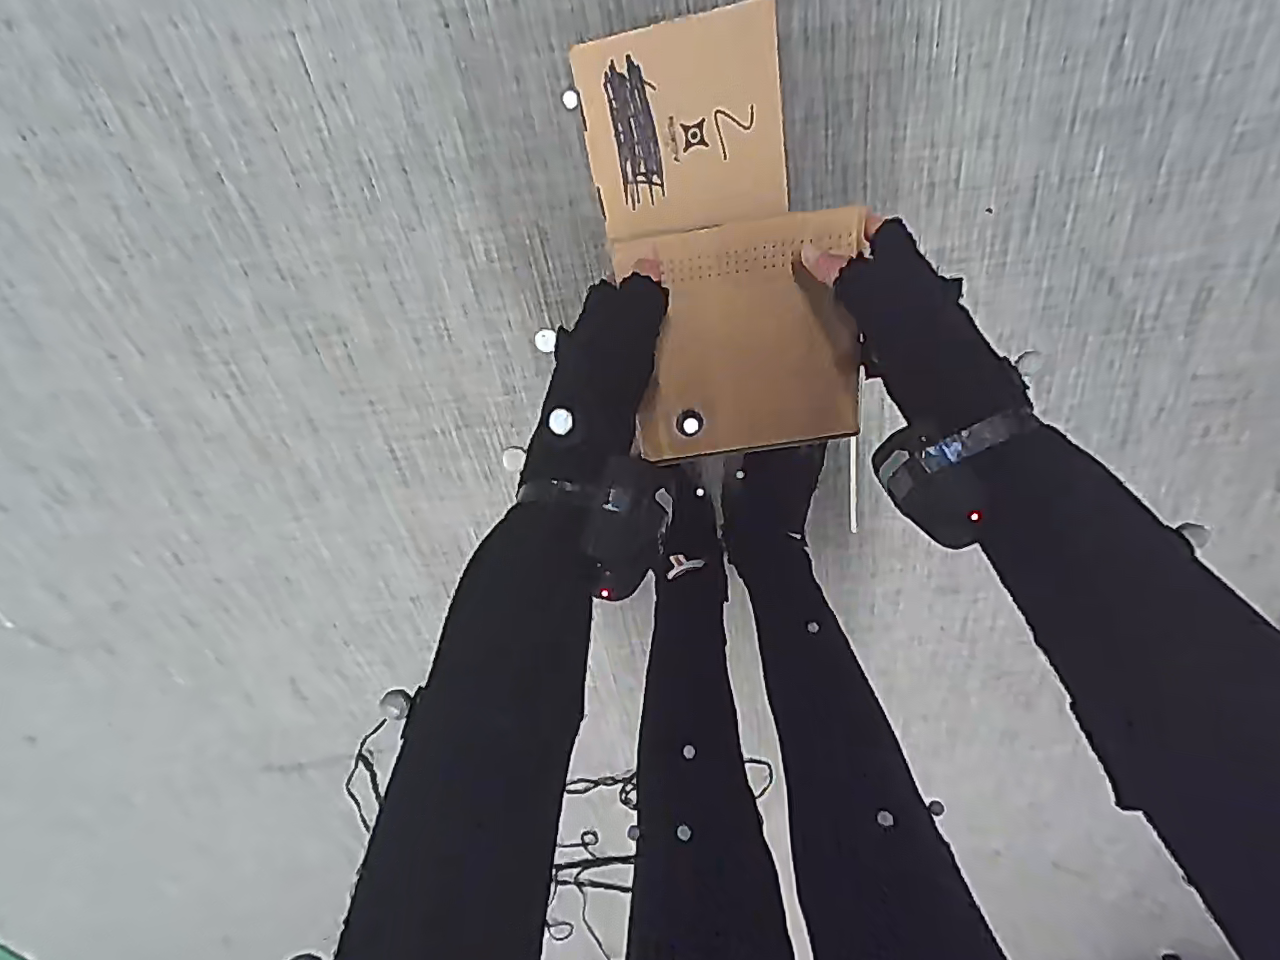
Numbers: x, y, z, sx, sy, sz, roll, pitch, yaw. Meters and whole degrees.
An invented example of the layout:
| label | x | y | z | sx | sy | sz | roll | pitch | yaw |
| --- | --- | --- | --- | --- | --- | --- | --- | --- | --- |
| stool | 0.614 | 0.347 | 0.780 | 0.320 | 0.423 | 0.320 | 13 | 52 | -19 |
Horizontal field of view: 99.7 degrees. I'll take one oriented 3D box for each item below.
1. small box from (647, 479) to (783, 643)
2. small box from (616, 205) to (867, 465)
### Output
| label | x | y | z | sx | sy | sz | roll | pitch | yaw |
| --- | --- | --- | --- | --- | --- | --- | --- | --- | --- |
| small box | 0.109 | 0.120 | 0.840 | 0.168 | 0.176 | 0.179 | -9 | 120 | -6 |
| small box | 0.079 | -0.133 | 0.464 | 0.179 | 0.168 | 0.176 | -7 | 116 | 2 |
